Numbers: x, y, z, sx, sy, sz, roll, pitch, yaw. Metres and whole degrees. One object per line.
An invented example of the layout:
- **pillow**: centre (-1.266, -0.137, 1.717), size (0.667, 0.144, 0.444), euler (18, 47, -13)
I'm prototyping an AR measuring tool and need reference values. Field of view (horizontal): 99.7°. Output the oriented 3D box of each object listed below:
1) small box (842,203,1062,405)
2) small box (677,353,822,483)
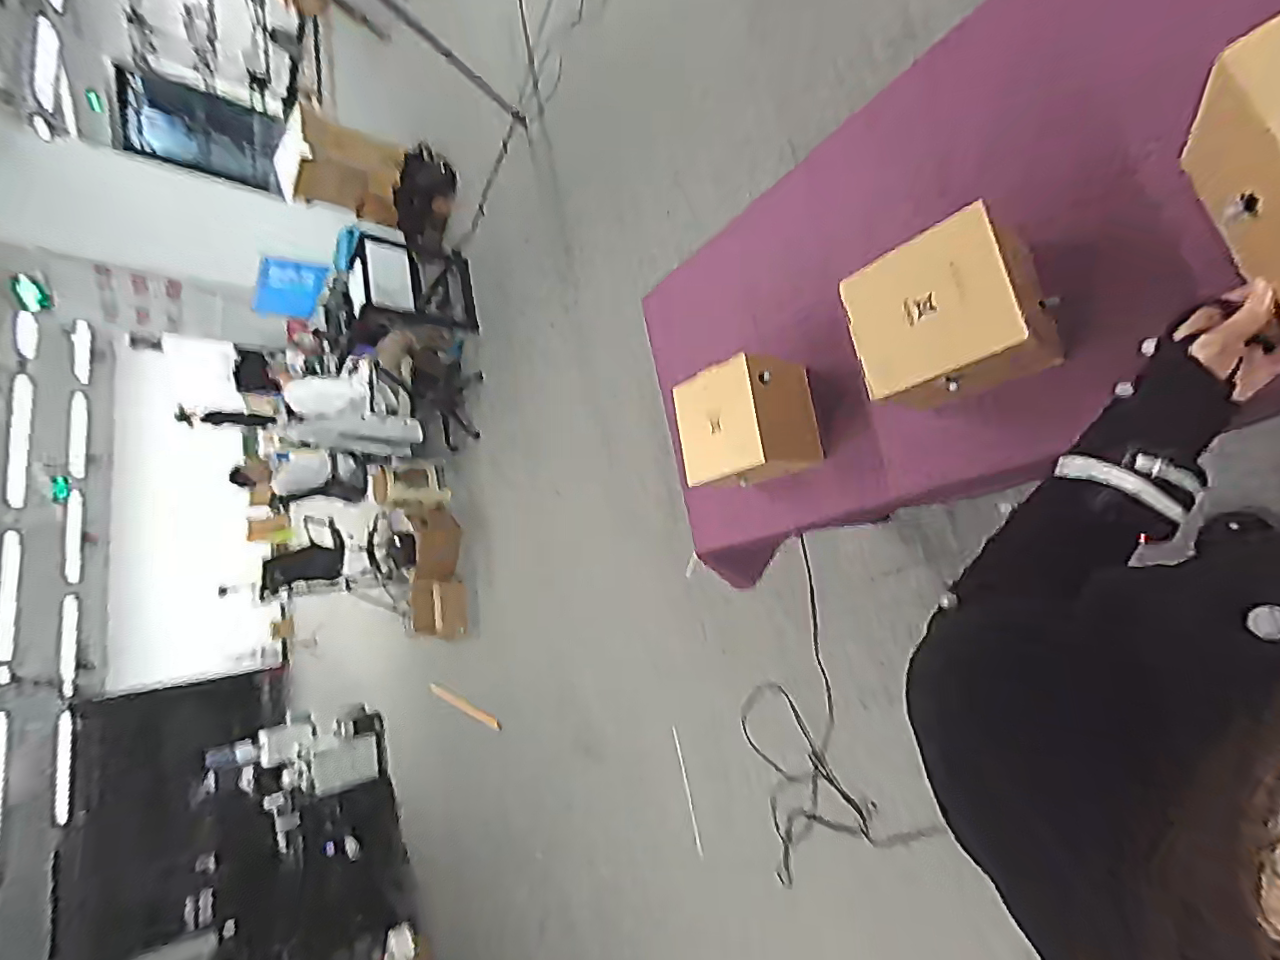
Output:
- **small box**: centre (0.393, -0.203, 0.687), size (0.179, 0.176, 0.168), euler (-22, 74, 47)
- **small box**: centre (0.189, -0.097, 0.930), size (0.168, 0.176, 0.179), euler (-20, 73, 48)
